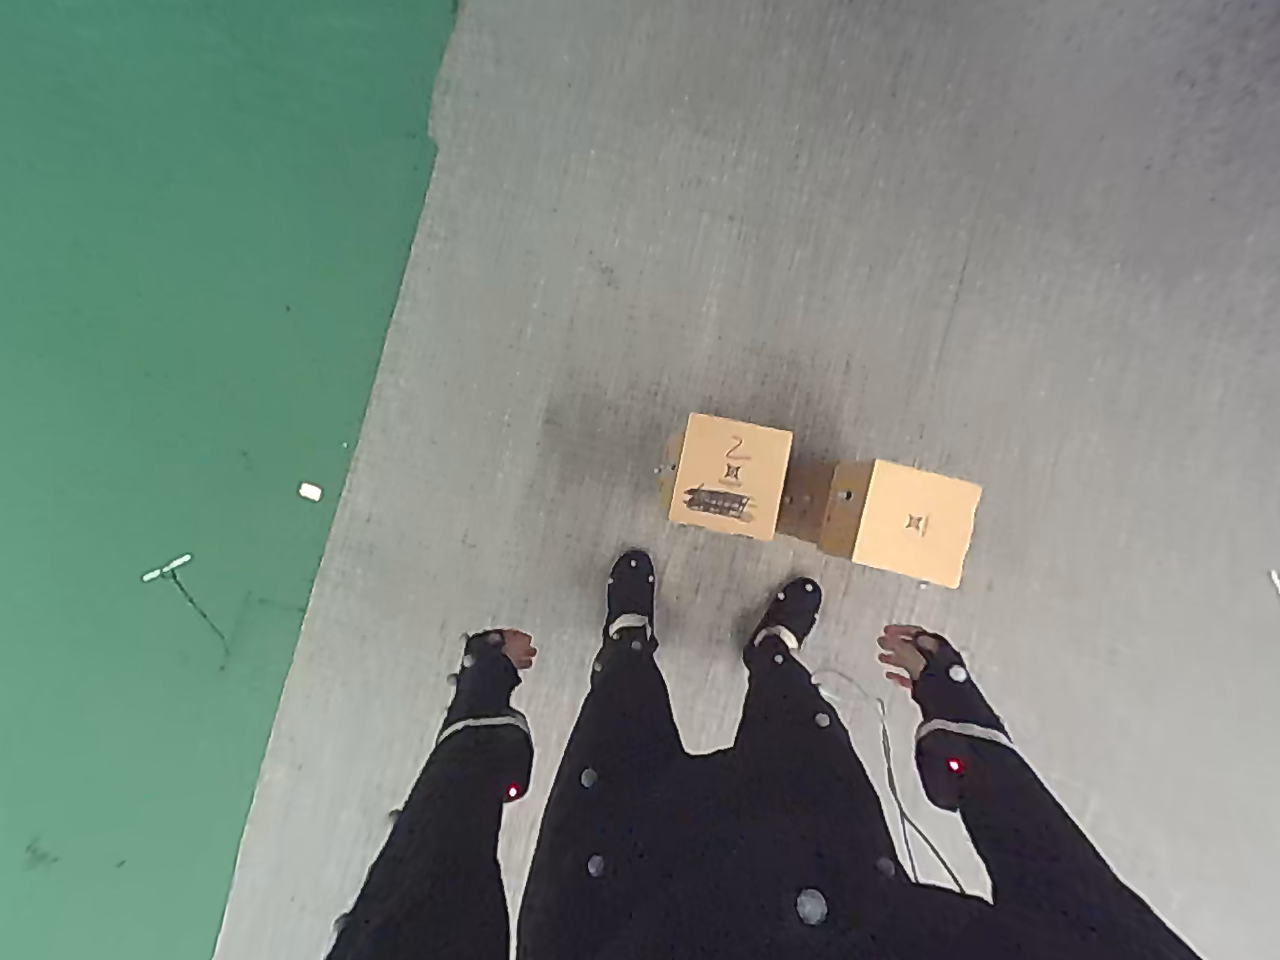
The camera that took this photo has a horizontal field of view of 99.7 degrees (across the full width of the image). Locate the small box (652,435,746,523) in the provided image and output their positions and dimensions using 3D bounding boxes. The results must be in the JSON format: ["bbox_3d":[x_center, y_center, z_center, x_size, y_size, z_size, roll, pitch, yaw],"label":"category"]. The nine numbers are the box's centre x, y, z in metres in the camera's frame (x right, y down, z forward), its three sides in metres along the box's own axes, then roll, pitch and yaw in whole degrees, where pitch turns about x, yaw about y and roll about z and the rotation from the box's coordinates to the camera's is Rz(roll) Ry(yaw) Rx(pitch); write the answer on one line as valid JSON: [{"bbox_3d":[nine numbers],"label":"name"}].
[{"bbox_3d":[0.129,-0.002,1.250,0.179,0.176,0.168,11,88,0],"label":"small box"}]

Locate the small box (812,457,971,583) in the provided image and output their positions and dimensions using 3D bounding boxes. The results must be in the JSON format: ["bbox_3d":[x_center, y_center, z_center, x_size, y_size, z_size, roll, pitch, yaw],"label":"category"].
[{"bbox_3d":[0.417,0.067,0.926,0.179,0.176,0.168,14,88,-2],"label":"small box"}]
